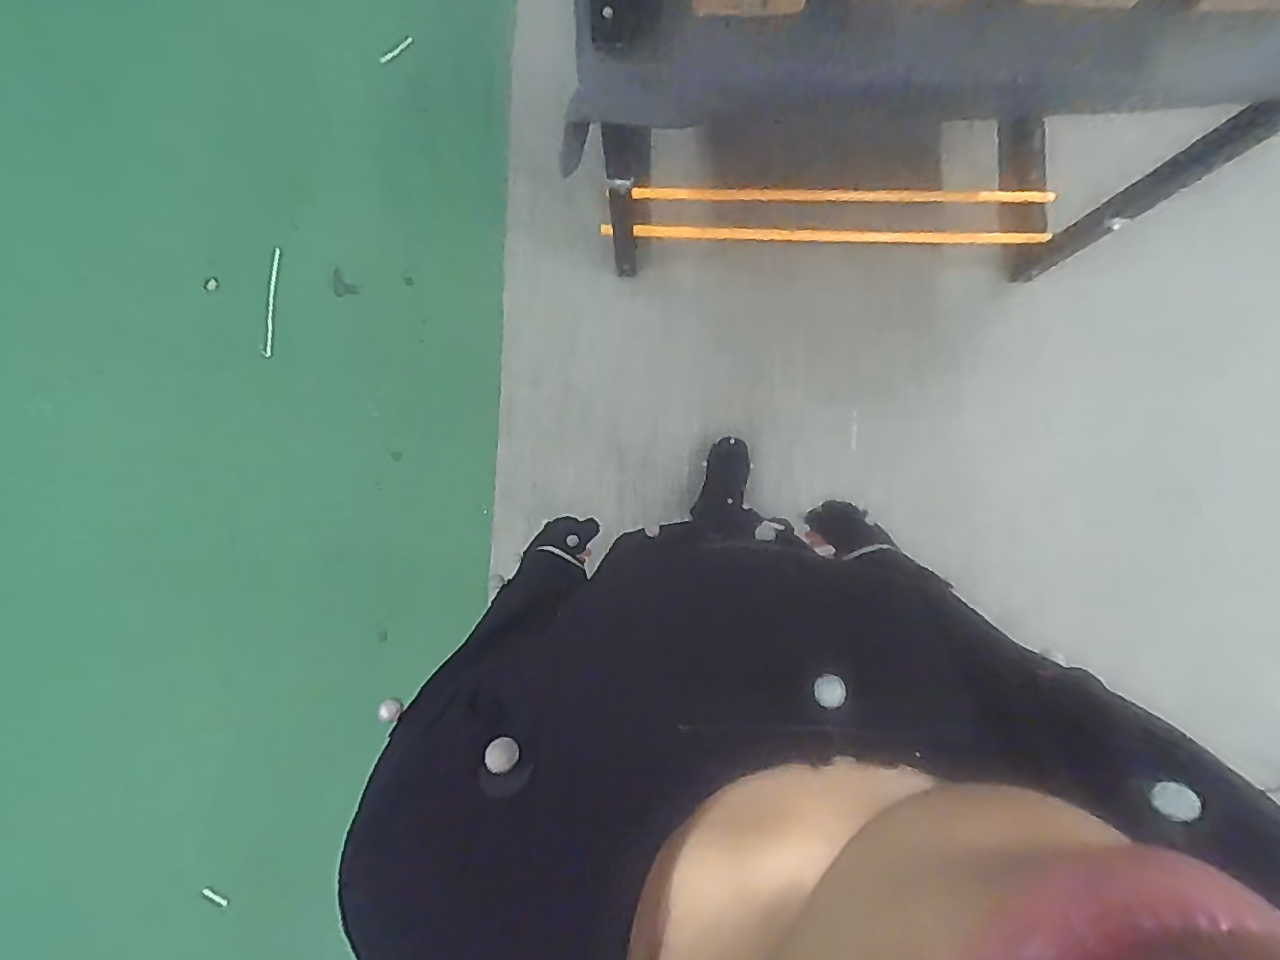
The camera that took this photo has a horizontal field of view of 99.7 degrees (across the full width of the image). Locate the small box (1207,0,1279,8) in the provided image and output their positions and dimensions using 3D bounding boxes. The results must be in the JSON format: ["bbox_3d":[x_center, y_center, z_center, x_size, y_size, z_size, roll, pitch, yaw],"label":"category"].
[{"bbox_3d":[0.903,-0.791,0.733,0.168,0.176,0.179,0,85,0],"label":"small box"}]

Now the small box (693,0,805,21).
[{"bbox_3d":[0.158,-0.783,0.738,0.168,0.176,0.179,-3,87,0],"label":"small box"}]
